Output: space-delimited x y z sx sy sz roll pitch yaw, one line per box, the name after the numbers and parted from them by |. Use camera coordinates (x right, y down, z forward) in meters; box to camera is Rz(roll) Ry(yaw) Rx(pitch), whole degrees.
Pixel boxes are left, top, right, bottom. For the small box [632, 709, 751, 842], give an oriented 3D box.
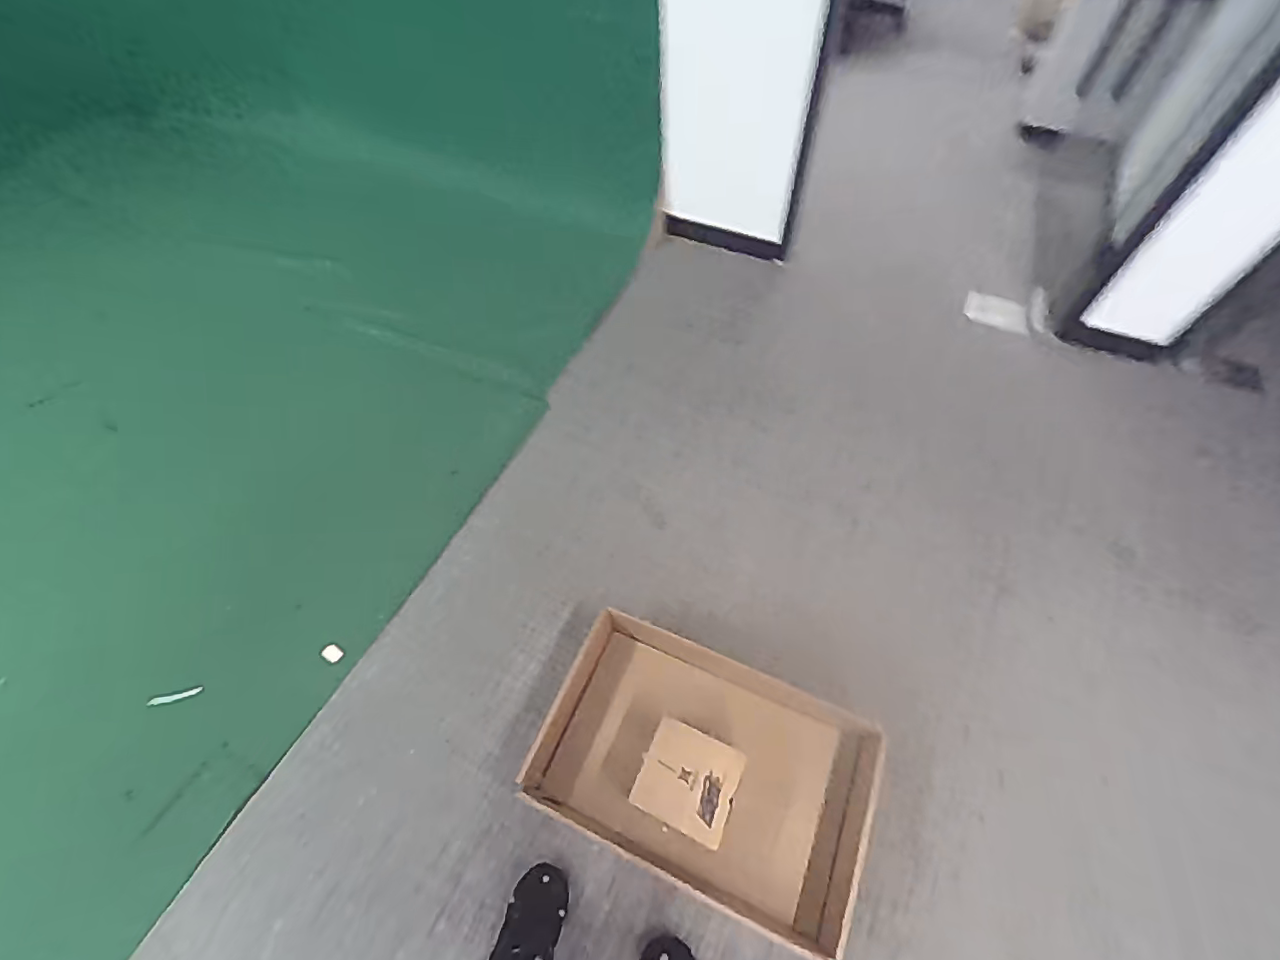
0.103 0.581 1.071 0.179 0.176 0.168 21 62 17 | small box
